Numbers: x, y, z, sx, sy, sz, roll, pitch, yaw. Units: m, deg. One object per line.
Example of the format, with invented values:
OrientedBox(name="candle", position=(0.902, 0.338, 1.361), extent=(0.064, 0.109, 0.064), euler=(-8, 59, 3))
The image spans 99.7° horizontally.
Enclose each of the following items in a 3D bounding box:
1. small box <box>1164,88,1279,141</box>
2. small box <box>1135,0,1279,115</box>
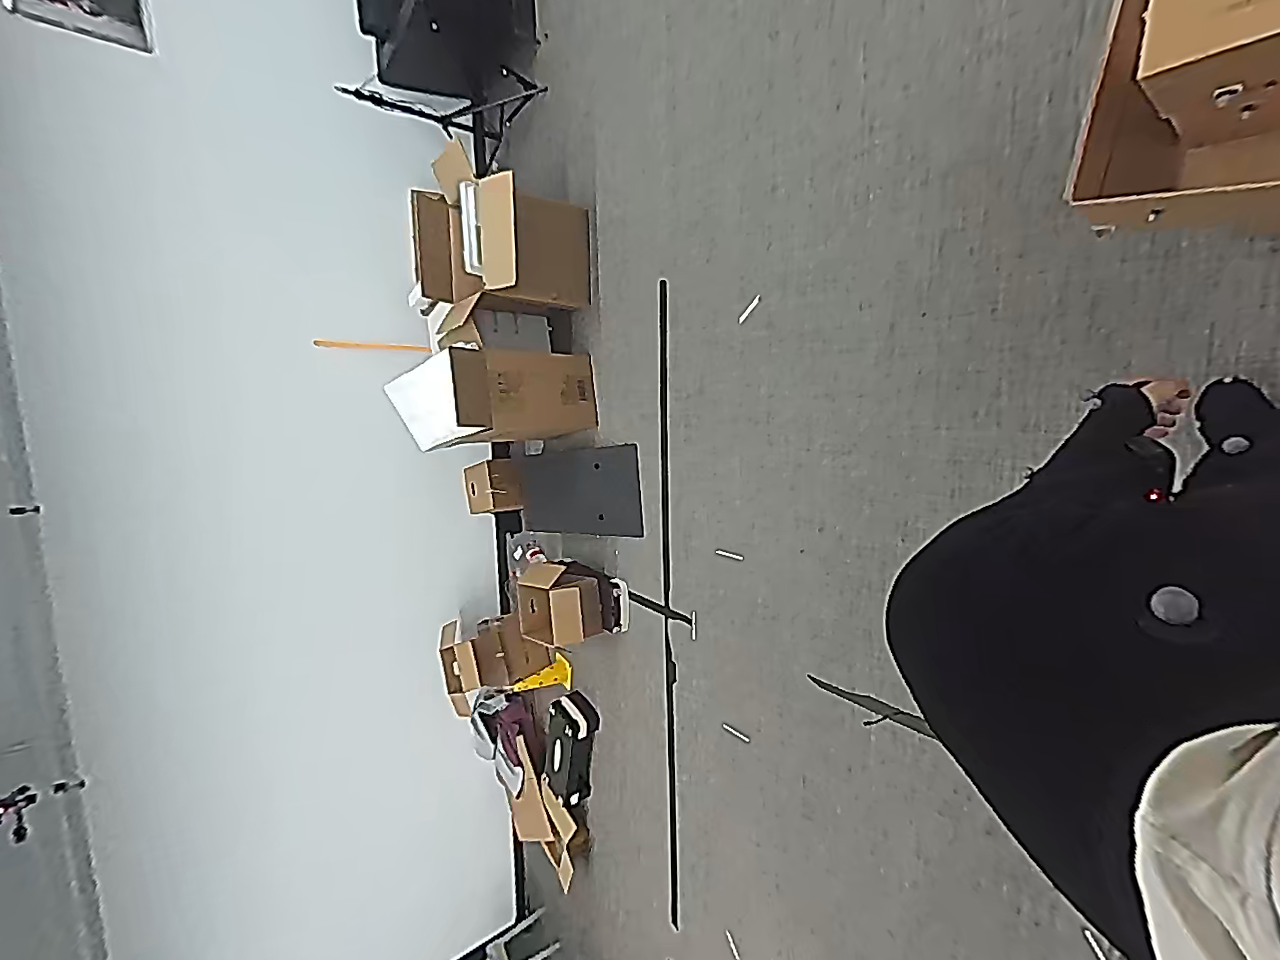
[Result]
OrientedBox(name="small box", position=(0.868, -0.593, 0.737), extent=(0.179, 0.176, 0.168), euler=(17, 109, 49))
OrientedBox(name="small box", position=(0.733, -0.582, 0.645), extent=(0.168, 0.176, 0.179), euler=(14, 106, 52))
